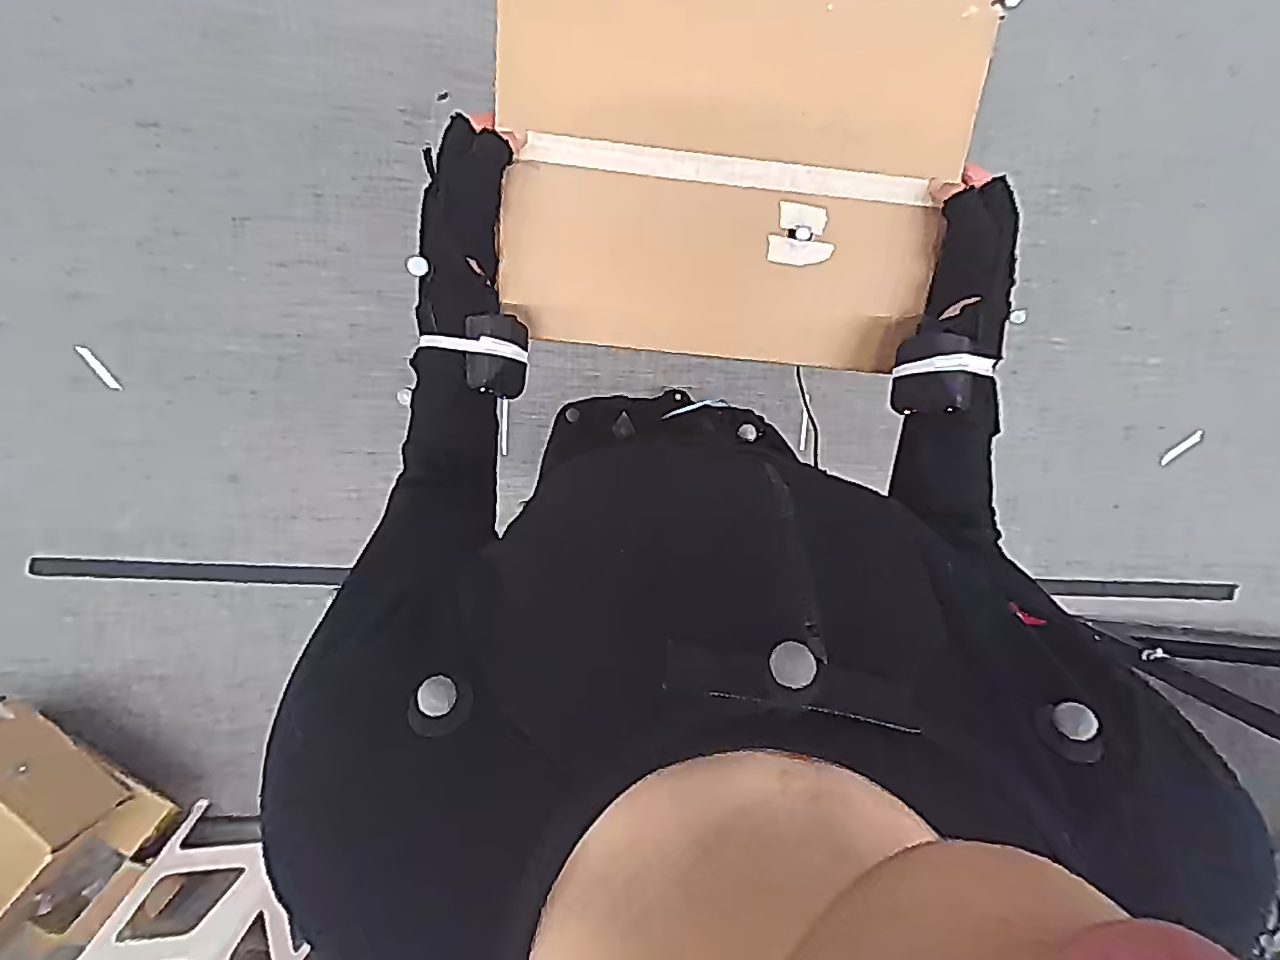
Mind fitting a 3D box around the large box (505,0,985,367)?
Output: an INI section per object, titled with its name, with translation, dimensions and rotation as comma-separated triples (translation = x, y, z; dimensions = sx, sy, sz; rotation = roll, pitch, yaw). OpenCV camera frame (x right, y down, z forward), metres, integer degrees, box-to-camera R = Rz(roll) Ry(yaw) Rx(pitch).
[large box]
translation = 0.071, -0.314, 0.622
dimensions = 0.408, 0.320, 0.320
rotation = 4, 108, -5
